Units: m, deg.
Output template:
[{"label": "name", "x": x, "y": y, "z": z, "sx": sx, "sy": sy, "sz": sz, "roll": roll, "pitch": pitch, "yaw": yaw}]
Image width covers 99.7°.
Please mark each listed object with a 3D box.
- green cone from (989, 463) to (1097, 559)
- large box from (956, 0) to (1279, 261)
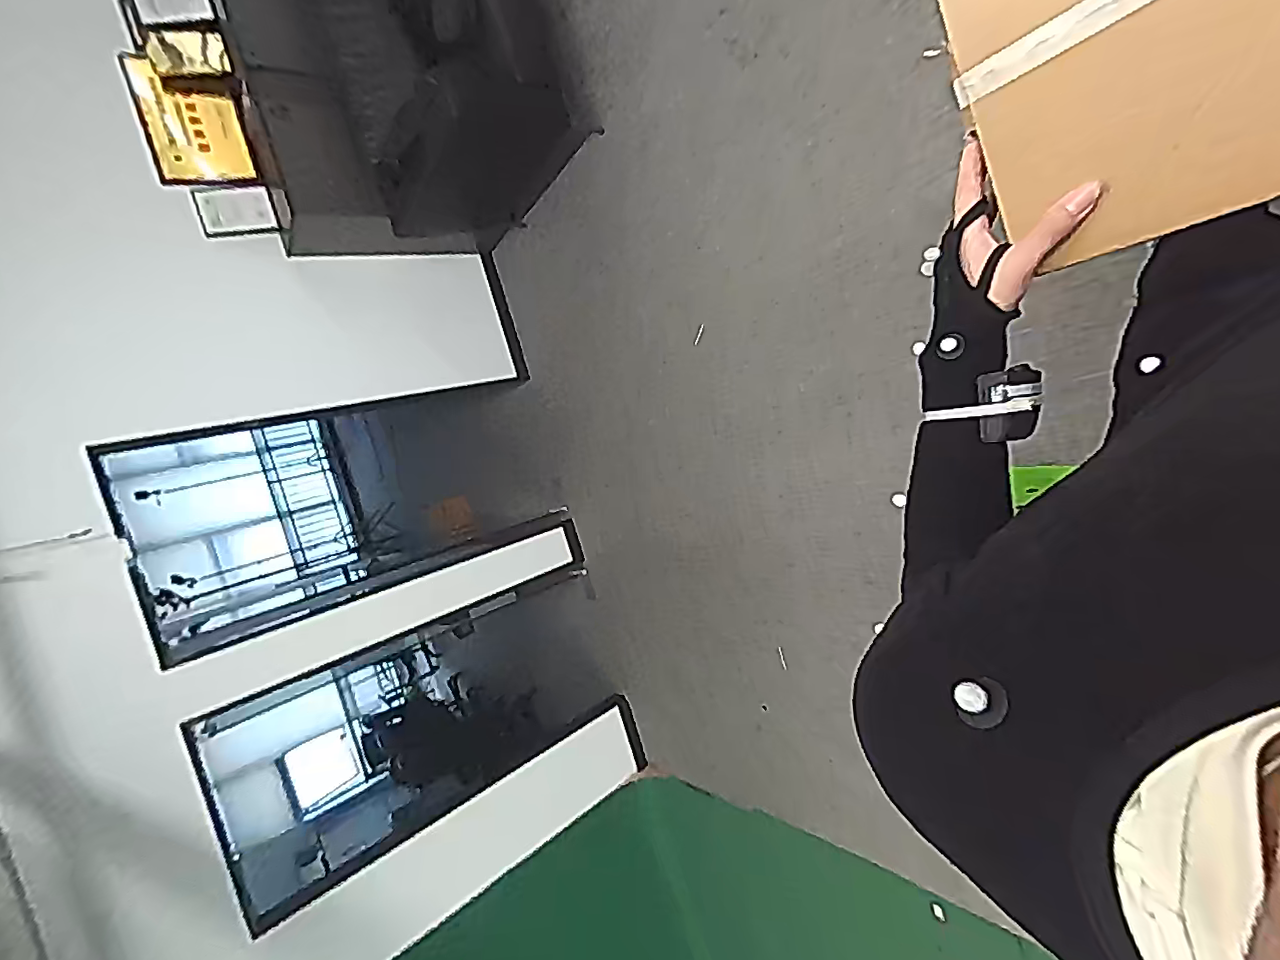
[{"label": "green cone", "x": 0.937, "y": 0.104, "z": 1.321, "sx": 0.200, "sy": 0.368, "sz": 0.202, "roll": -3, "pitch": 104, "yaw": 53}, {"label": "large box", "x": 0.476, "y": -0.412, "z": 0.365, "sx": 0.408, "sy": 0.320, "sz": 0.320, "roll": -11, "pitch": 113, "yaw": 46}]
